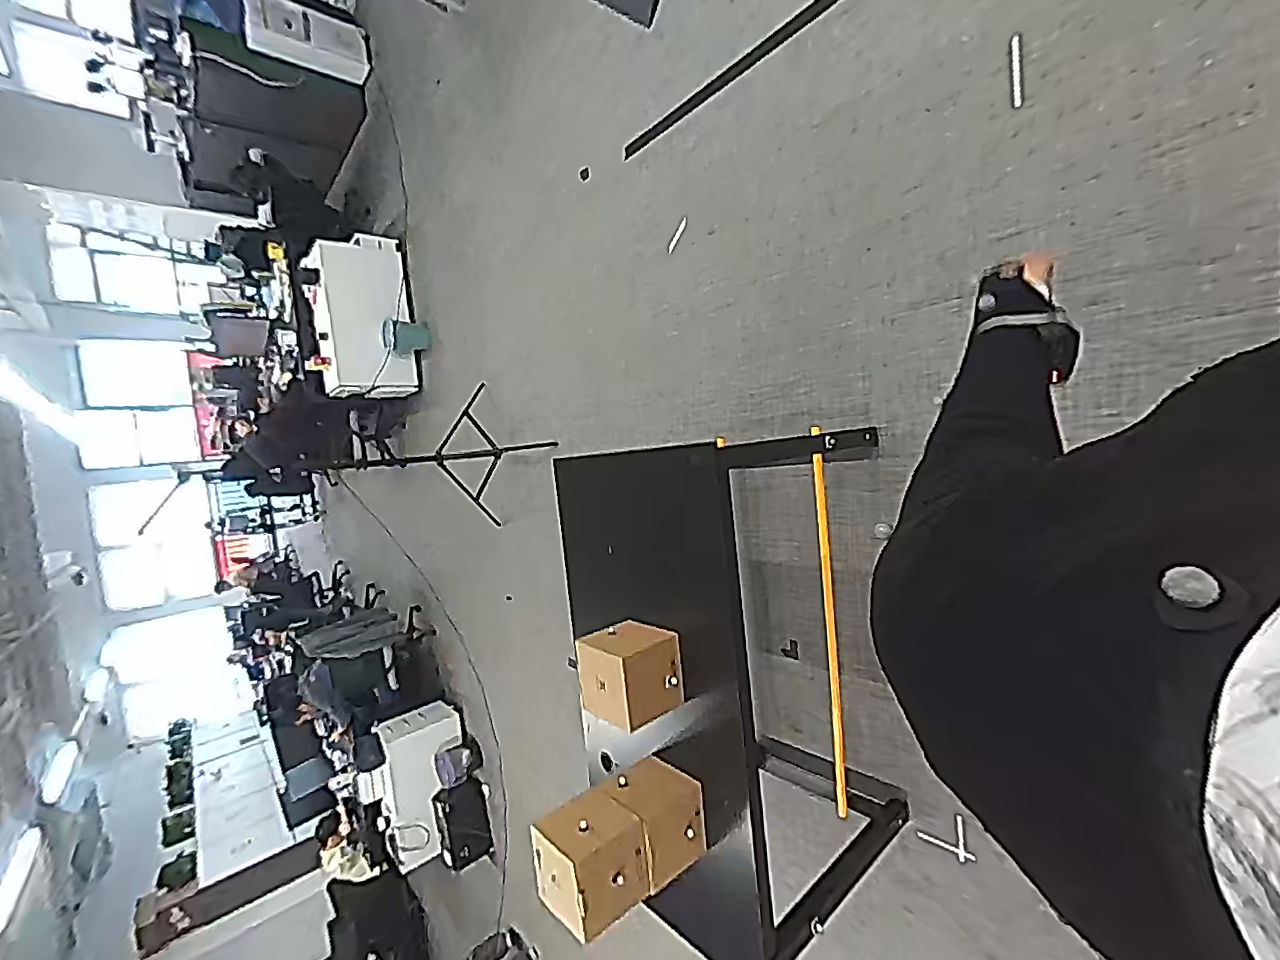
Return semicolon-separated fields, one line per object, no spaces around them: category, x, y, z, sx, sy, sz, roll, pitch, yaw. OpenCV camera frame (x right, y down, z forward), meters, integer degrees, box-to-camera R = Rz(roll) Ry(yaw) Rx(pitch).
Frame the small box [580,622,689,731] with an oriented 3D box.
small box;-0.012;0.434;1.229;0.179;0.176;0.168;-3;96;49

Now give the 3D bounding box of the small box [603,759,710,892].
small box;0.037;0.768;1.230;0.179;0.176;0.168;0;97;50

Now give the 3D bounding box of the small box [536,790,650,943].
small box;-0.092;0.790;1.132;0.179;0.176;0.168;-4;93;50
